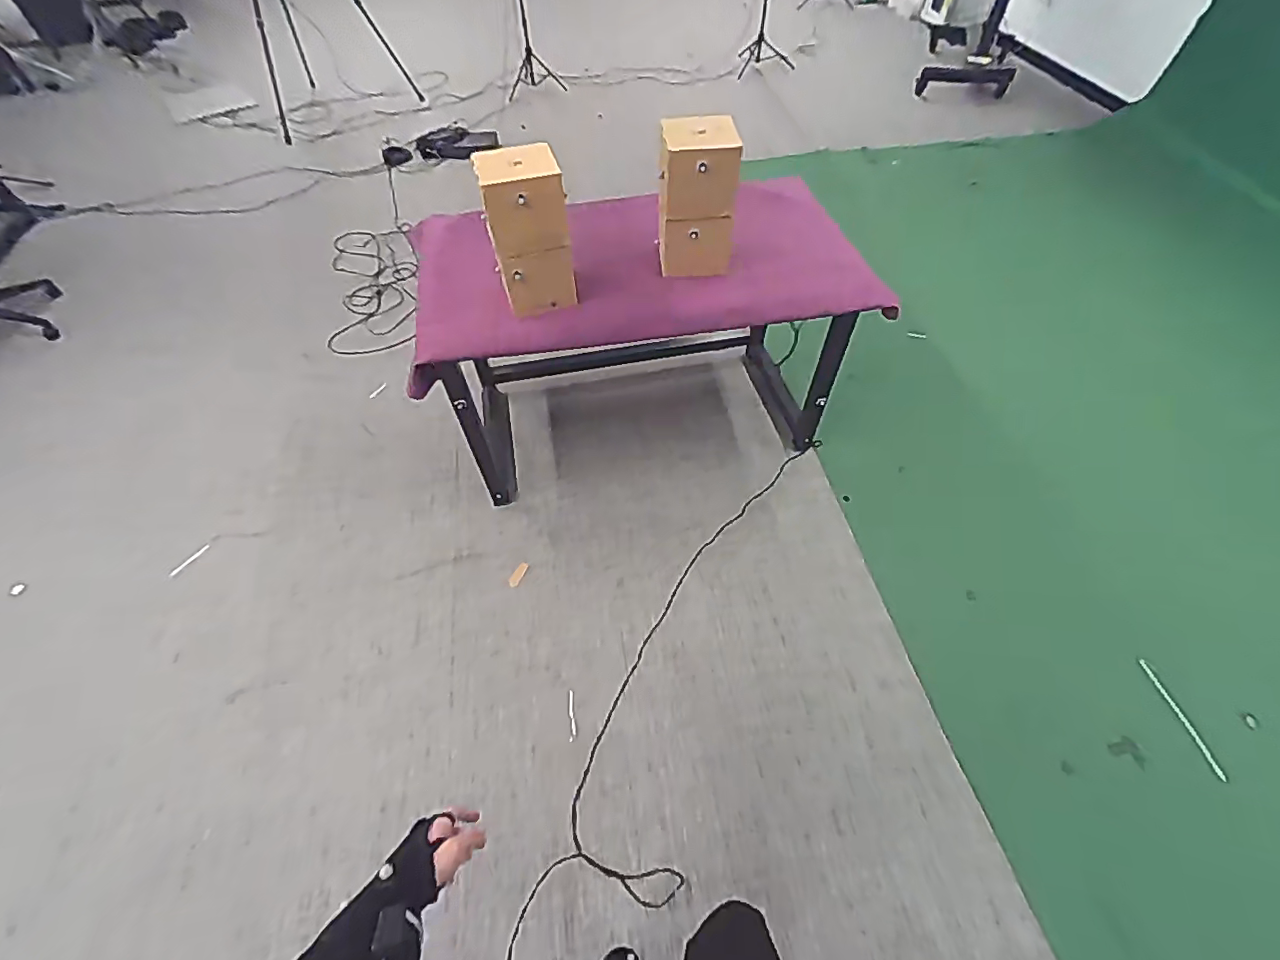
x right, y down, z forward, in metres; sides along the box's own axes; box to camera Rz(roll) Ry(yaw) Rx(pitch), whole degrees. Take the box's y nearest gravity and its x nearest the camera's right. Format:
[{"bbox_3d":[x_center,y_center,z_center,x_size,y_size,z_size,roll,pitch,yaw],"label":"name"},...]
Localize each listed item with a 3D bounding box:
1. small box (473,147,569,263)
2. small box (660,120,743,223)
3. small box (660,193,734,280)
[{"bbox_3d":[-0.266,-0.627,1.238,0.179,0.176,0.168,-15,55,-9],"label":"small box"},{"bbox_3d":[0.143,-0.746,1.317,0.179,0.176,0.168,-4,55,-2],"label":"small box"},{"bbox_3d":[0.146,-0.654,1.451,0.179,0.176,0.168,-3,55,-2],"label":"small box"}]
